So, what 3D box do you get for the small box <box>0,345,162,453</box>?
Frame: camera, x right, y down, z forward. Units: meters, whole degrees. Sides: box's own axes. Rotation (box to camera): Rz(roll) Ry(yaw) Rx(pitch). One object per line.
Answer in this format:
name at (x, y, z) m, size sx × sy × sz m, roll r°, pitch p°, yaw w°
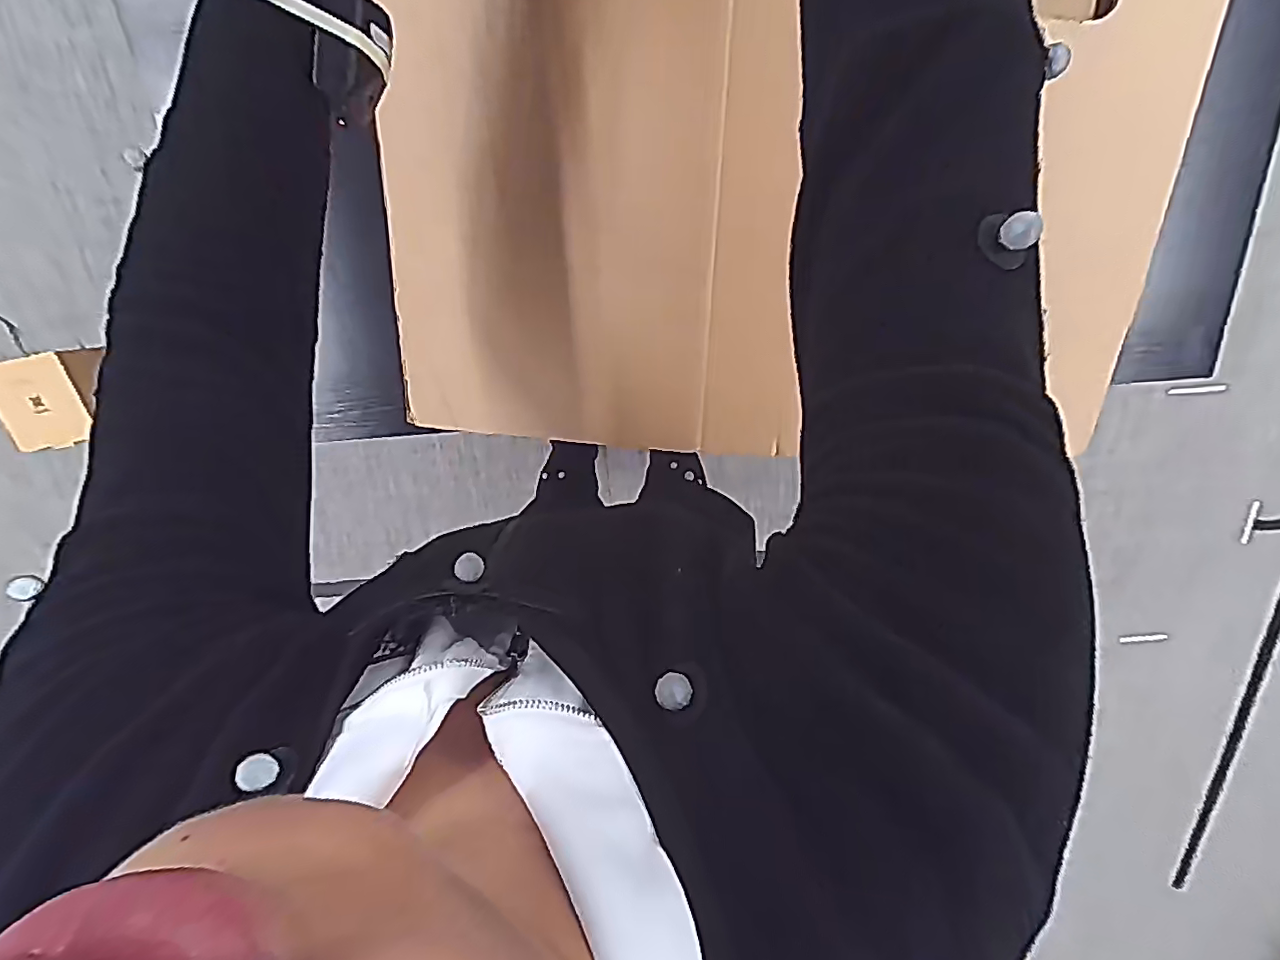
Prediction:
small box at (-1.165, -0.174, 1.125) m, size 0.168 × 0.176 × 0.179 m, roll -11°, pitch 108°, yaw 1°
